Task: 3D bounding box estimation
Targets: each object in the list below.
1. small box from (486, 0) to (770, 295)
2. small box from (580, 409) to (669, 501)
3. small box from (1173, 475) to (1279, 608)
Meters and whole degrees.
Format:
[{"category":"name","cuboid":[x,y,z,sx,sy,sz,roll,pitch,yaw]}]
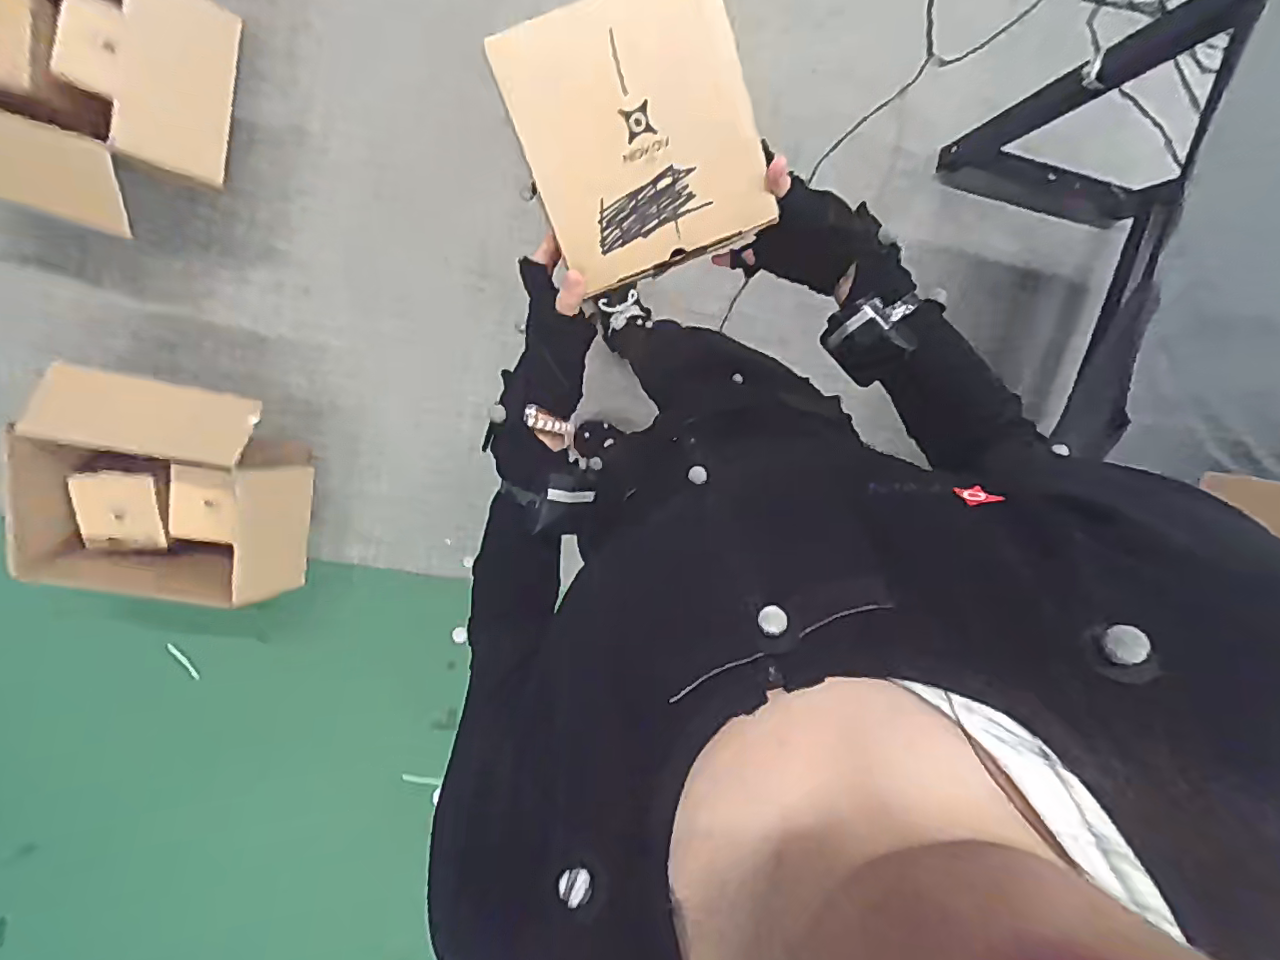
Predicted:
[{"category":"small box","cuboid":[-0.009,-0.273,0.469,0.168,0.176,0.179,-21,107,0]},{"category":"small box","cuboid":[-0.038,-0.064,1.414,0.179,0.176,0.168,-16,113,17]},{"category":"small box","cuboid":[0.958,0.094,0.787,0.179,0.176,0.168,8,100,-8]}]
